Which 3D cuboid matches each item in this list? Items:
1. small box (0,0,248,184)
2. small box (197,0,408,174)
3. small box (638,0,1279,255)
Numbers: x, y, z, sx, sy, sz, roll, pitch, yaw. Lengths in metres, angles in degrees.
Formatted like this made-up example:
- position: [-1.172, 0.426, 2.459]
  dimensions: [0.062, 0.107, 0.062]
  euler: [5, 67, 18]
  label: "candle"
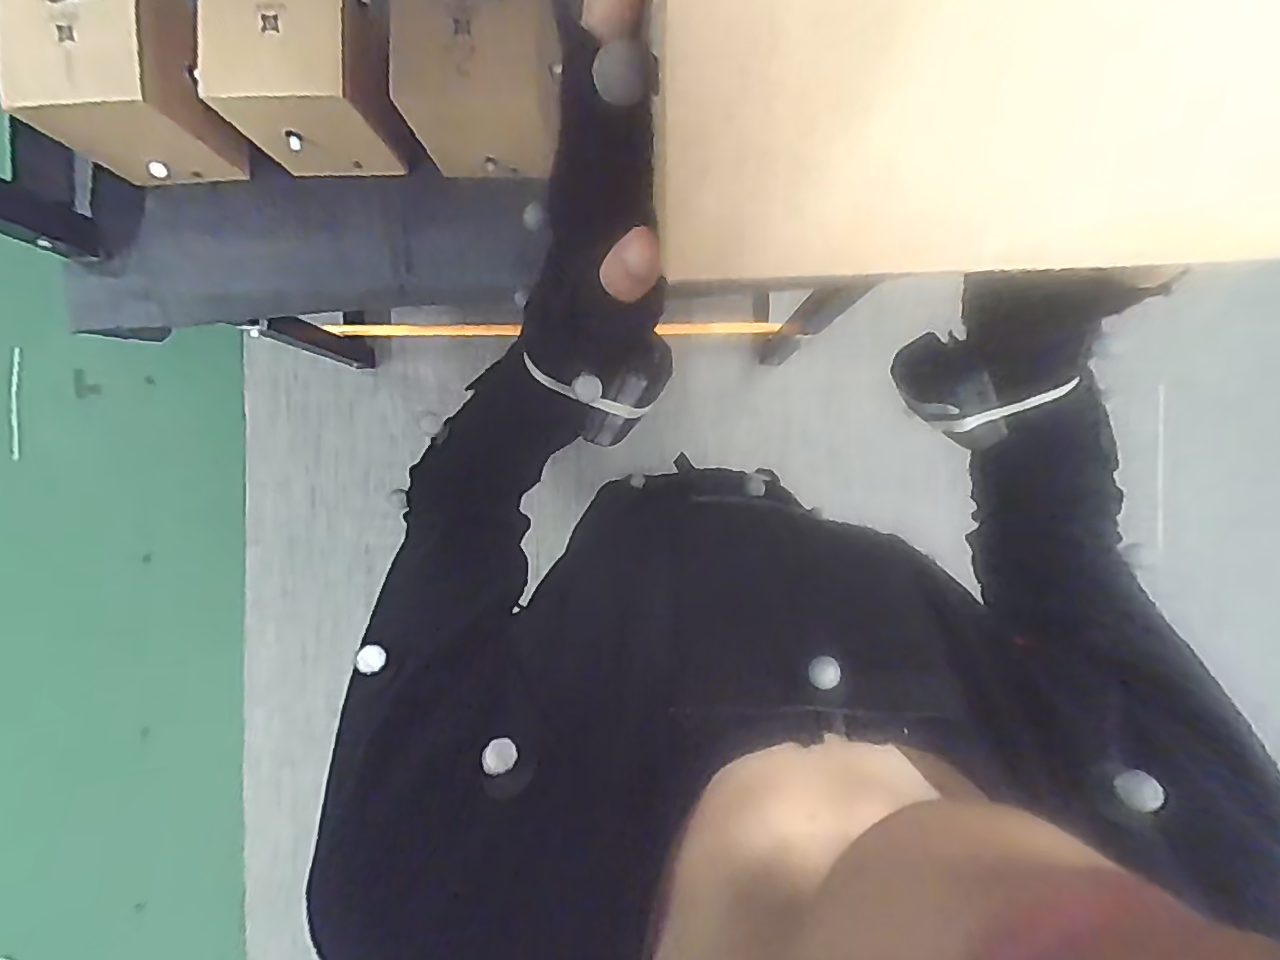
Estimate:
- position: [-0.634, -0.506, 0.681]
  dimensions: [0.168, 0.176, 0.179]
  euler: [-2, 91, 1]
  label: "small box"
- position: [-0.407, -0.512, 0.679]
  dimensions: [0.168, 0.176, 0.179]
  euler: [0, 90, 1]
  label: "small box"
- position: [0.082, -0.178, 0.152]
  dimensions: [0.168, 0.176, 0.179]
  euler: [-1, 127, 1]
  label: "small box"
